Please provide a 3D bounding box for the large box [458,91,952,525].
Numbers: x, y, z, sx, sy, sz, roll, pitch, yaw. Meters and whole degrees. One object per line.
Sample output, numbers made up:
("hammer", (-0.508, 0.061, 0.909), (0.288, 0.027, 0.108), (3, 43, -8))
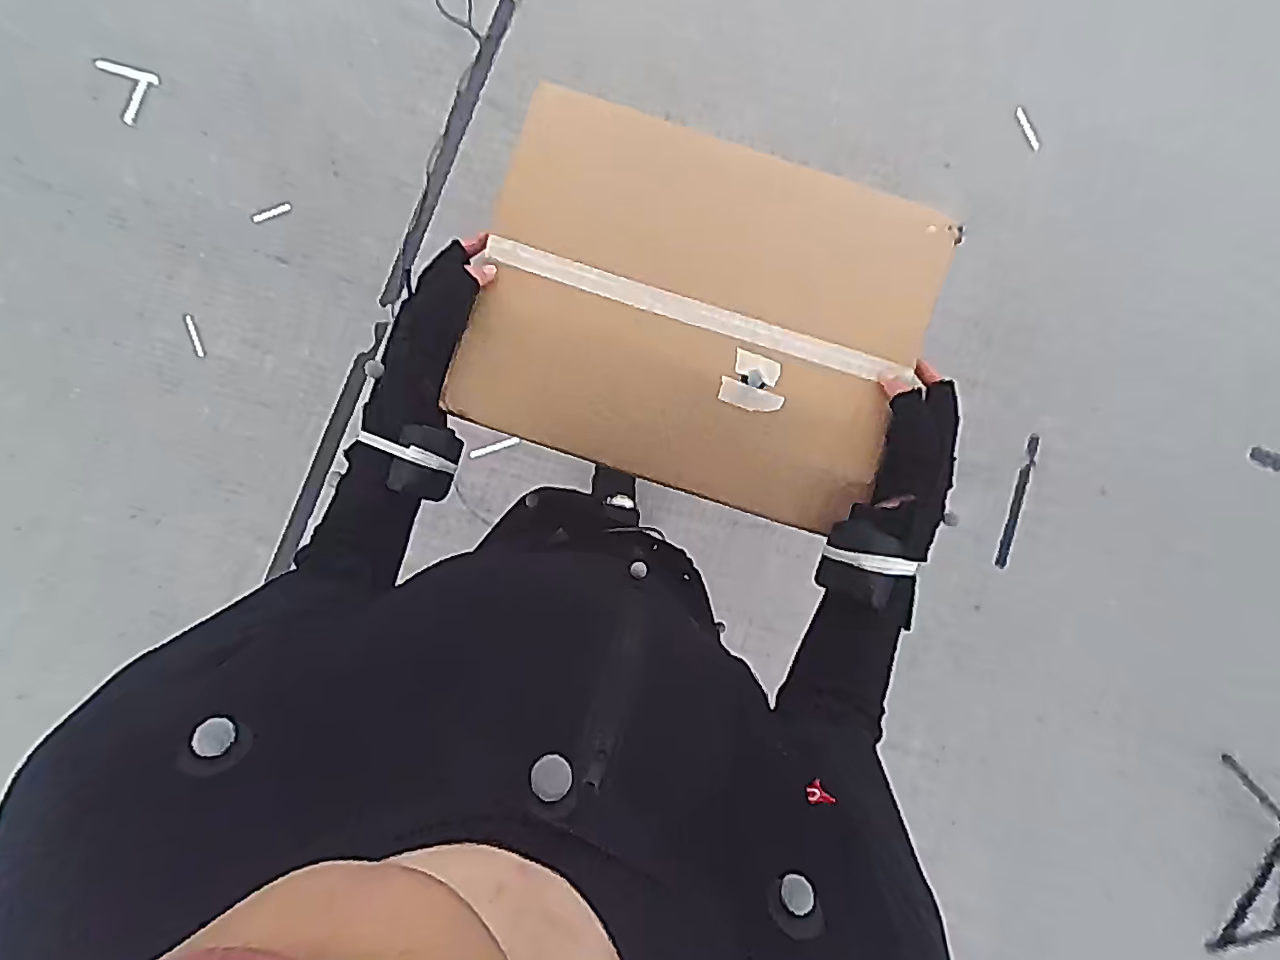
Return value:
("large box", (0.058, -0.163, 0.655), (0.408, 0.320, 0.320), (19, 92, -1))
